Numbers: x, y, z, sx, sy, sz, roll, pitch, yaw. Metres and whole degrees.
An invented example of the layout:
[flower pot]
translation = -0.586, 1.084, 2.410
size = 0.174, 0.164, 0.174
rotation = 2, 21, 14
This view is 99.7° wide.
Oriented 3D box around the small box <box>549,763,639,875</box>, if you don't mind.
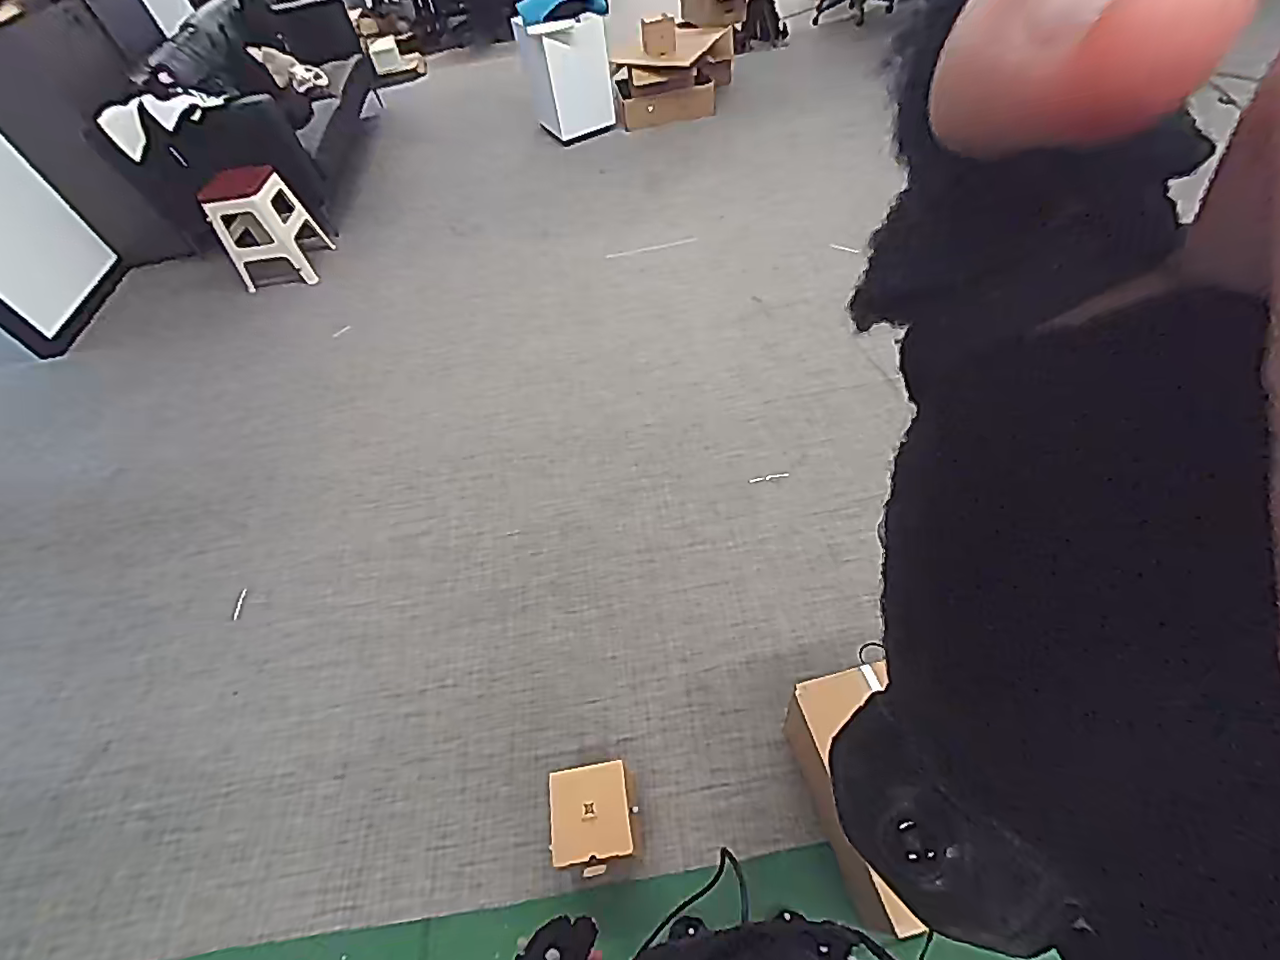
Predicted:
[small box]
translation = -0.101, 0.752, 1.196
size = 0.168, 0.176, 0.179
rotation = -11, 52, 0
